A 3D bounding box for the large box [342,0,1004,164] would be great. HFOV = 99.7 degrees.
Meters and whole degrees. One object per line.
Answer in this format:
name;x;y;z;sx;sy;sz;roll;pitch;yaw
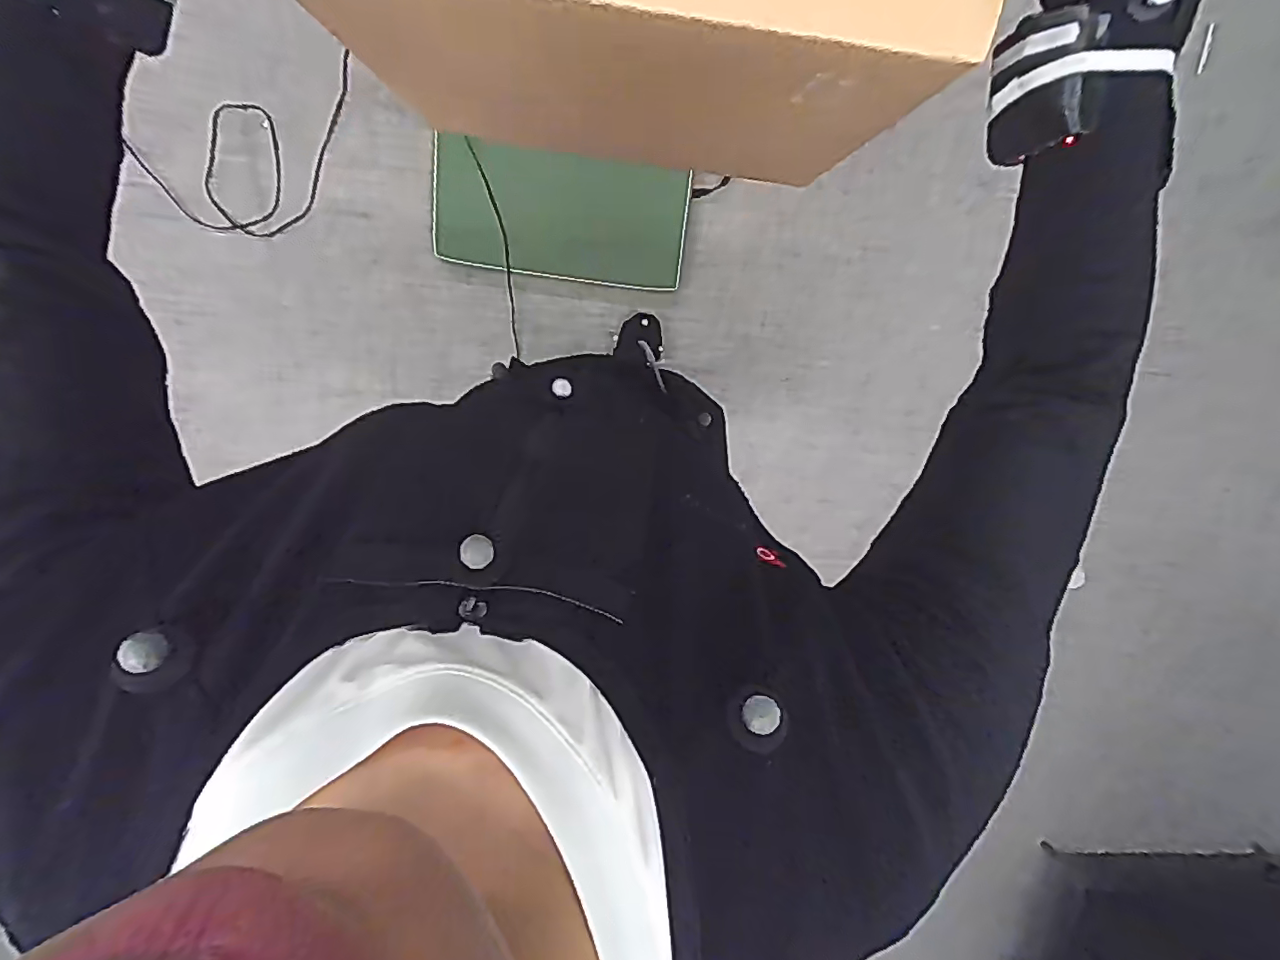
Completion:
large box;0.012;-0.456;0.386;0.408;0.320;0.320;6;108;-4
